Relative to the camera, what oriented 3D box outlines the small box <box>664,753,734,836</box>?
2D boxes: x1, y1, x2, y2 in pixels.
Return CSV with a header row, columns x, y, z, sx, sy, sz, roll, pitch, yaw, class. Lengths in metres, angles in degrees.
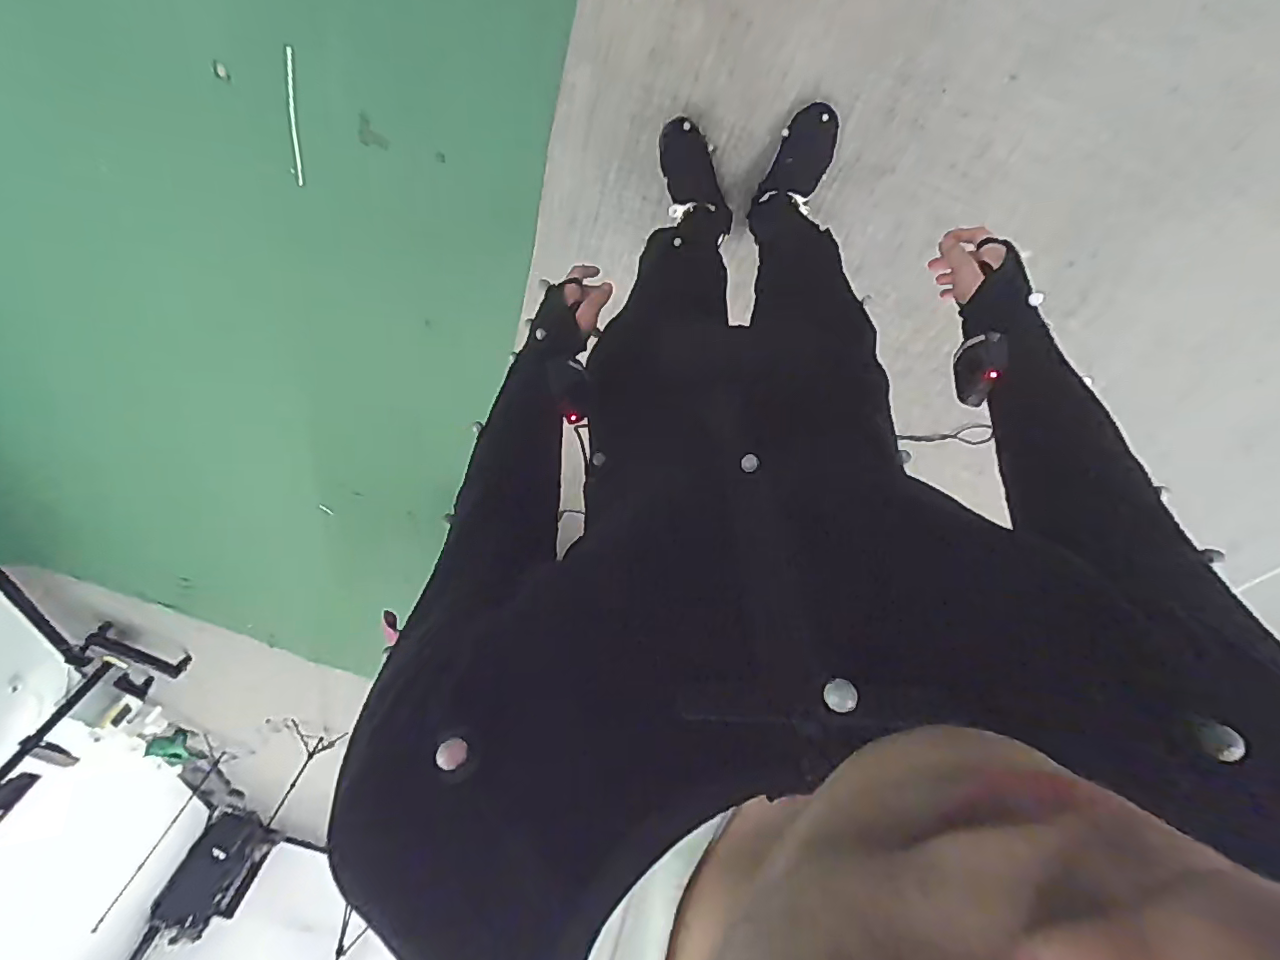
x,y,z,sx,sy,sz,roll,pitch,yaw,class
0.189,0.993,1.708,0.168,0.176,0.179,19,135,-4,small box
